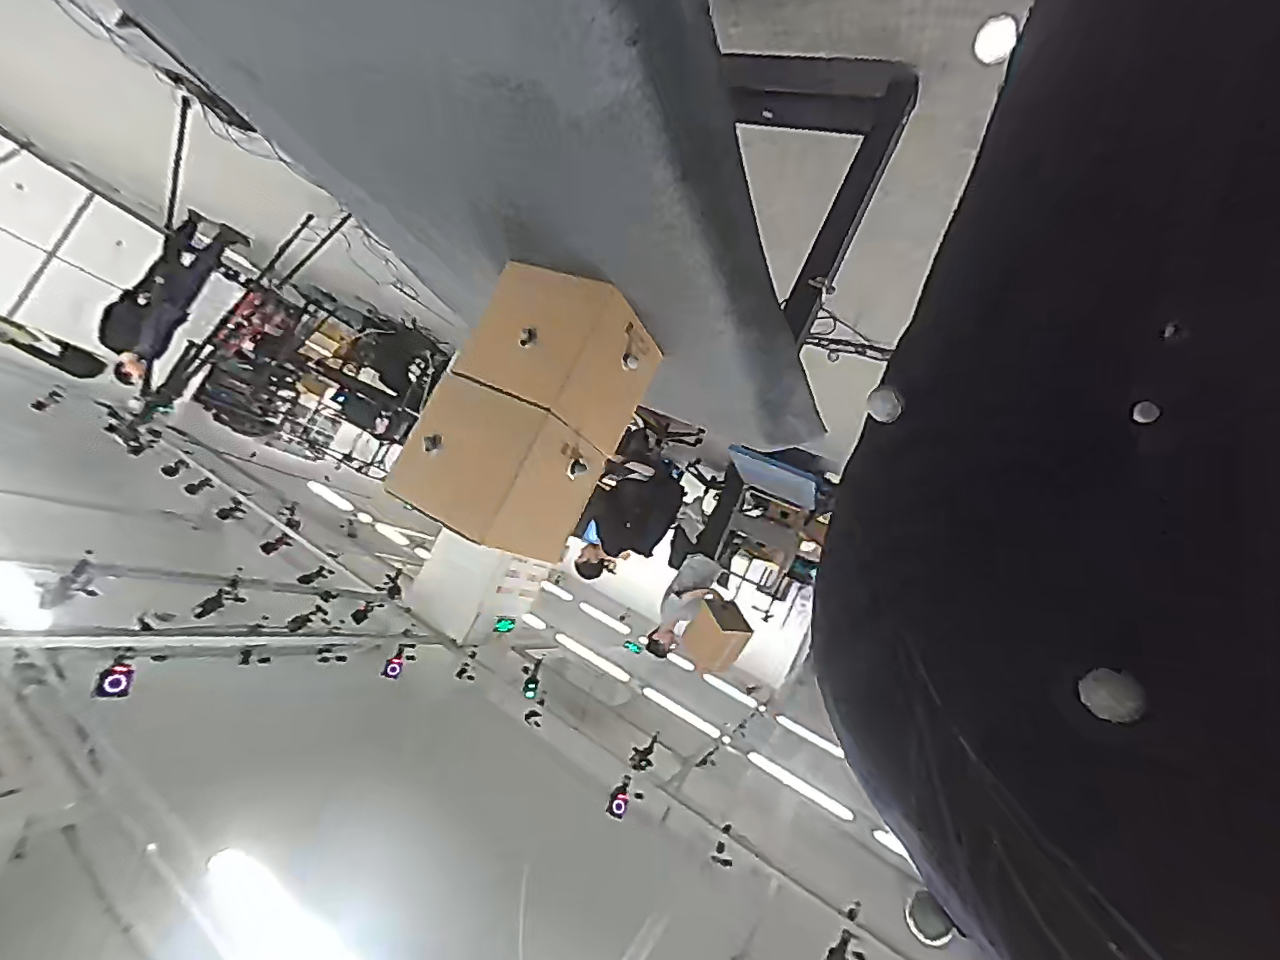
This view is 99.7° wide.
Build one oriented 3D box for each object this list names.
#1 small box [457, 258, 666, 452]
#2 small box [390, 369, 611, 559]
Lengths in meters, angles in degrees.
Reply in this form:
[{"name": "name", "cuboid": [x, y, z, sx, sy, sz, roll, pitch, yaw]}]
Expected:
[{"name": "small box", "cuboid": [-0.094, -0.164, 0.711, 0.179, 0.176, 0.168, 23, 173, 27]}, {"name": "small box", "cuboid": [-0.168, -0.021, 0.689, 0.179, 0.176, 0.168, 22, 174, 27]}]
